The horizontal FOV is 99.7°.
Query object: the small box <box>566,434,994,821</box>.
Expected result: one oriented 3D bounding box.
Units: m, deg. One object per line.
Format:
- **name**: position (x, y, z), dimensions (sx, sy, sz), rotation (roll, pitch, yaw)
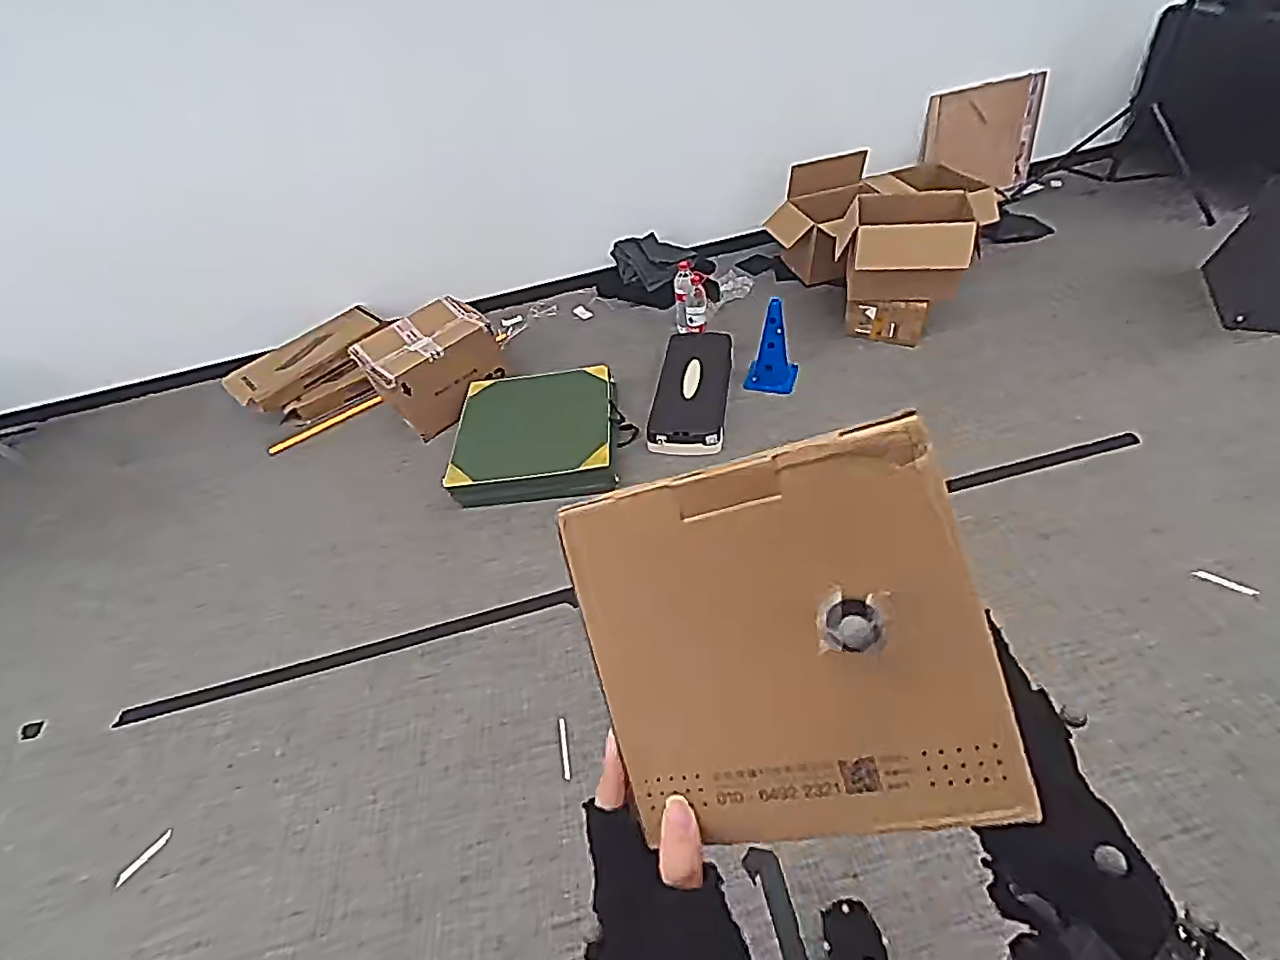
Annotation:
- **small box**: position (0.084, 0.078, 0.329), dimensions (0.168, 0.179, 0.176), rotation (-16, 89, 19)
